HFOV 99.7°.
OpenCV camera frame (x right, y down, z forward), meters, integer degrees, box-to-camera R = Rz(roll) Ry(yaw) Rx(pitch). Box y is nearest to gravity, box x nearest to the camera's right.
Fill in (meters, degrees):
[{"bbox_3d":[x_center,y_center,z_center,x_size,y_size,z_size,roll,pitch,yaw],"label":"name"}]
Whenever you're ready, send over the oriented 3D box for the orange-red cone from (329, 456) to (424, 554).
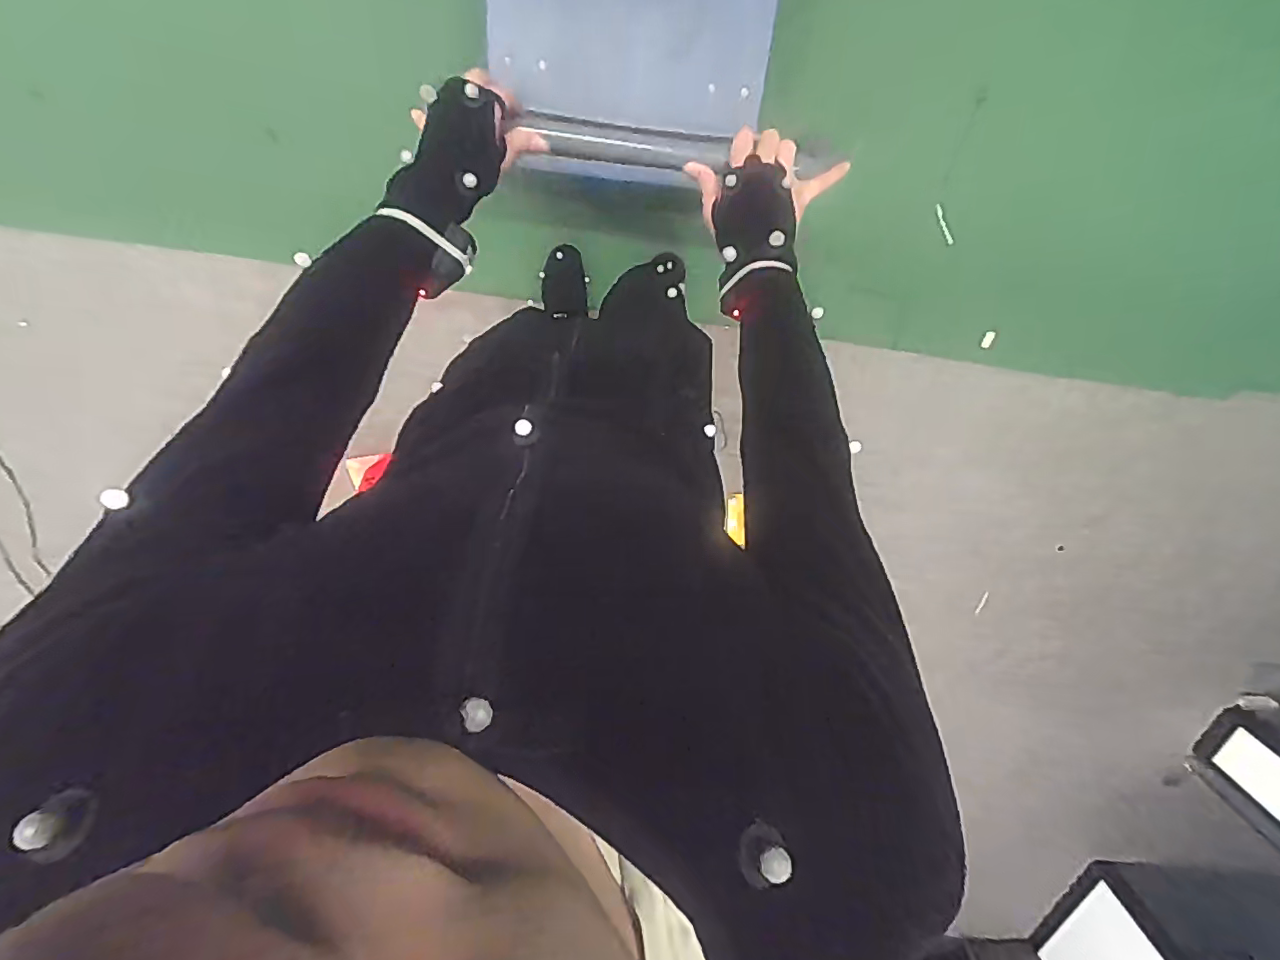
[{"bbox_3d":[-0.772,0.096,1.512,0.199,0.360,0.198,-6,116,1],"label":"orange-red cone"}]
